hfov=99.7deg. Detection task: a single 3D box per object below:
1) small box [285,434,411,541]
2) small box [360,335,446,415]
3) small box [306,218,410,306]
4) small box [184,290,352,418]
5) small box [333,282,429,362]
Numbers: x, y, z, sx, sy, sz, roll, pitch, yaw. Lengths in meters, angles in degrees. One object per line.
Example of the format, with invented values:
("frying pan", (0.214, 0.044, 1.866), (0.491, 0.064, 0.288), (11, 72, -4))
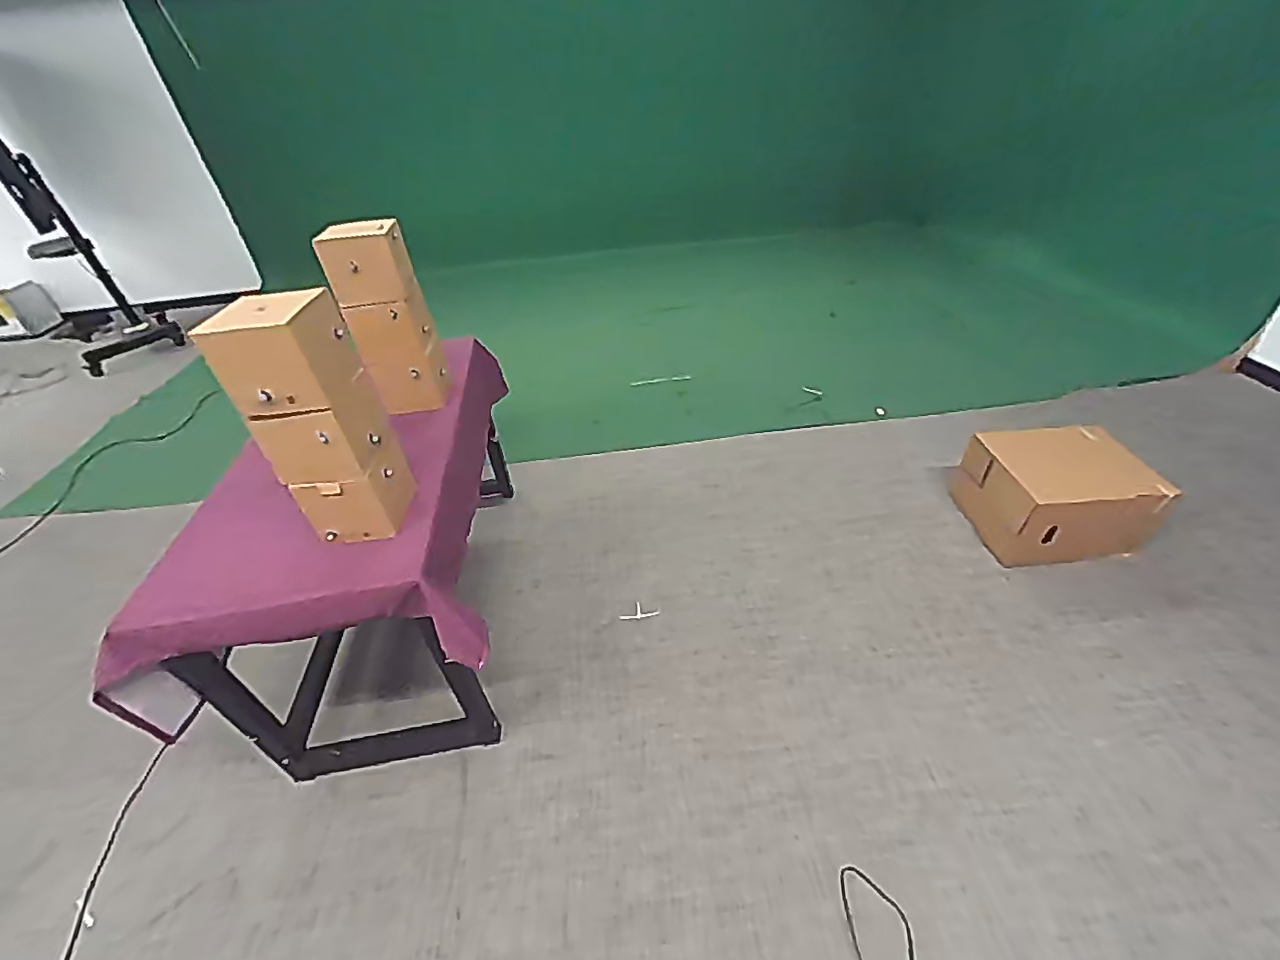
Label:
("small box", (-0.633, 0.022, 1.200), (0.168, 0.176, 0.179), (-7, 38, -1))
("small box", (-0.701, -0.315, 1.626), (0.179, 0.176, 0.168), (-8, 39, -3))
("small box", (-0.732, -0.572, 1.424), (0.179, 0.176, 0.168), (-10, 40, -5))
("small box", (-0.663, -0.233, 0.996), (0.168, 0.176, 0.179), (-7, 39, 0))
("small box", (-0.722, -0.443, 1.527), (0.179, 0.176, 0.168), (-7, 39, -3))
